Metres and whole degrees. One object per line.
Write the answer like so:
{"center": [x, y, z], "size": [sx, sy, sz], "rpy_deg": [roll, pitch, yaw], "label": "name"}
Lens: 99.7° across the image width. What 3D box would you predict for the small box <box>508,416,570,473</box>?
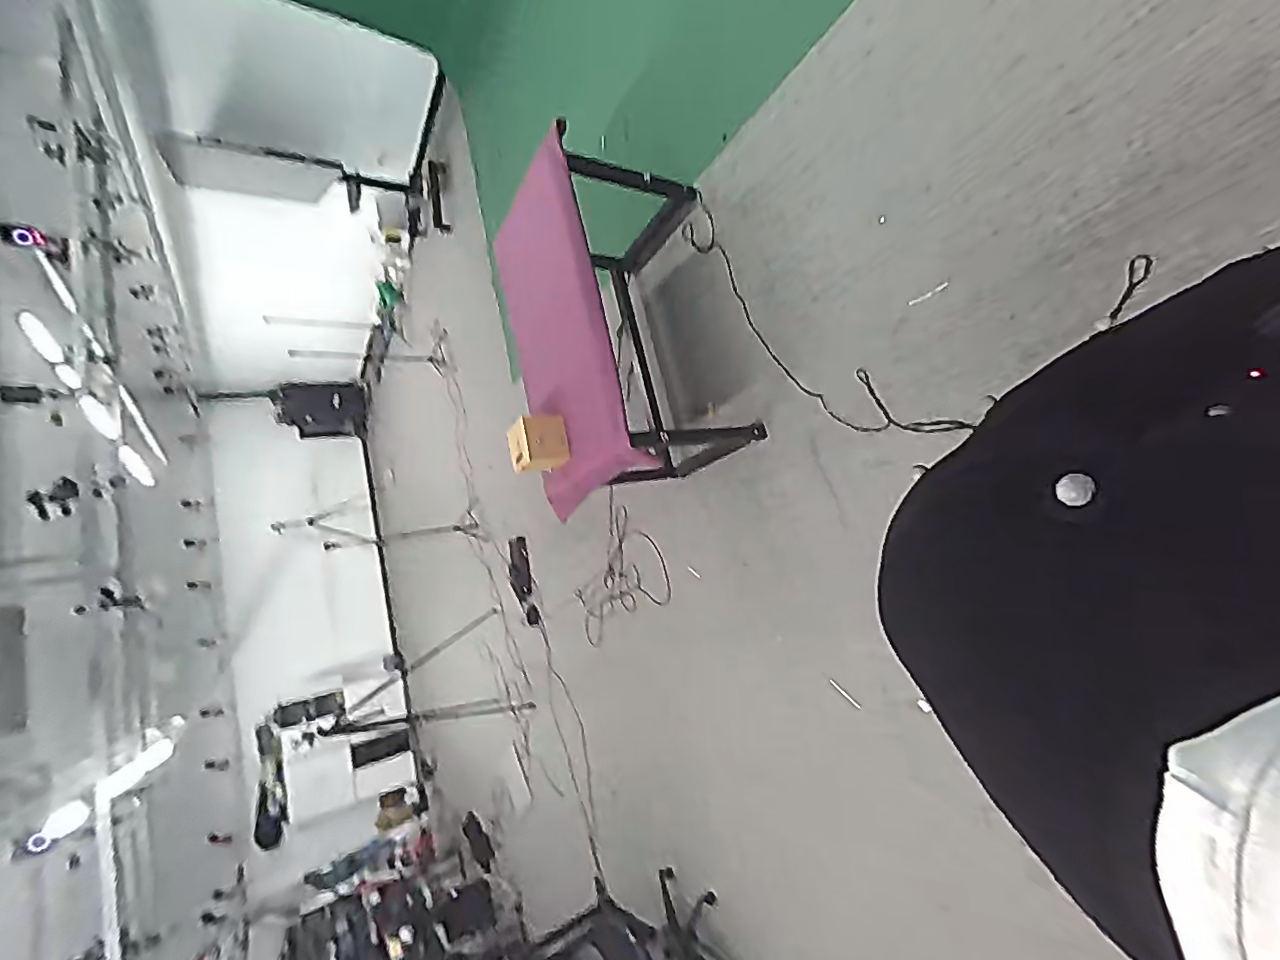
{"center": [-0.380, -0.136, 2.053], "size": [0.168, 0.176, 0.179], "rpy_deg": [-27, 73, 53], "label": "small box"}
